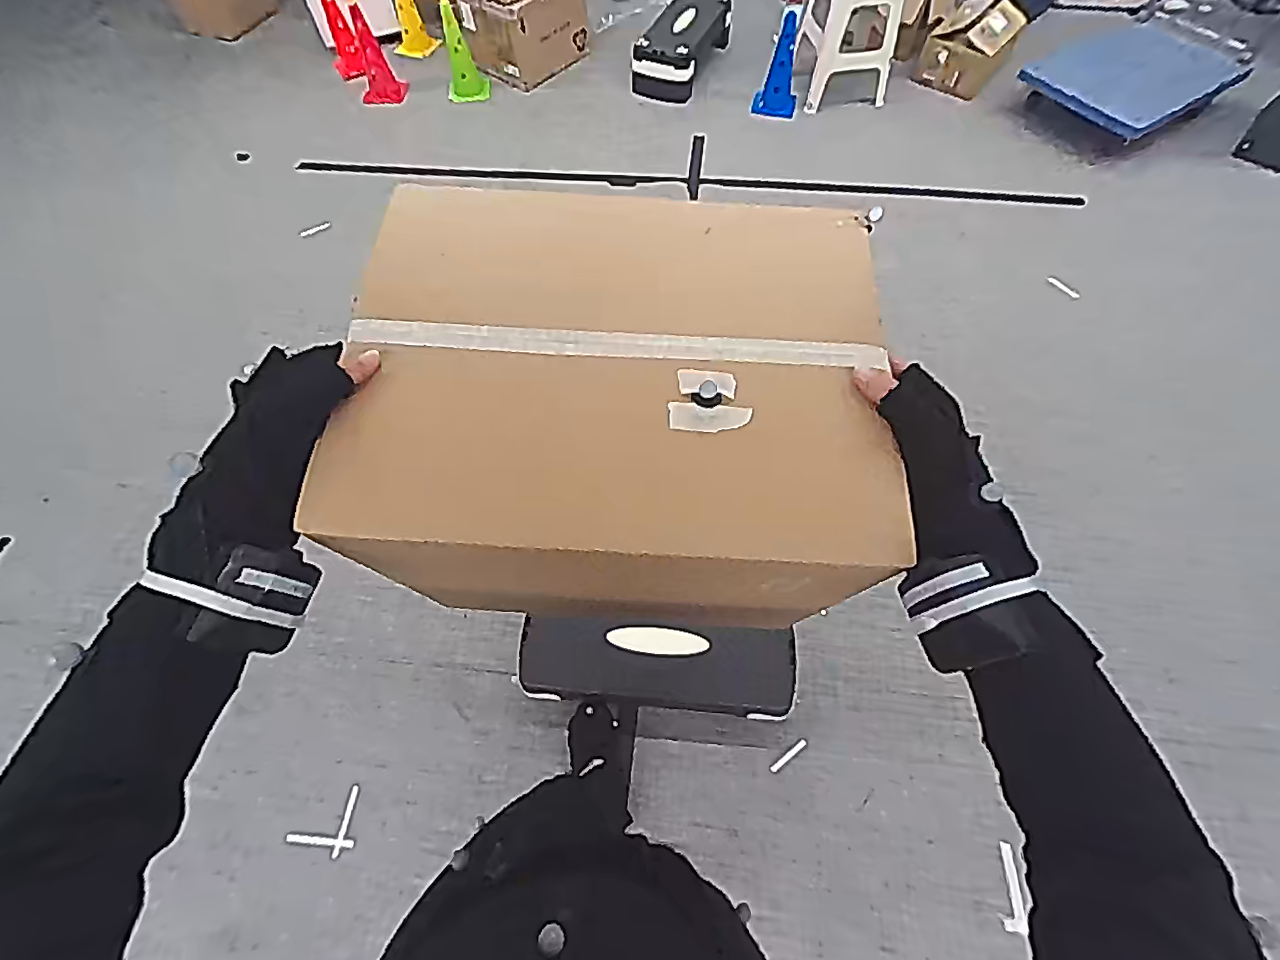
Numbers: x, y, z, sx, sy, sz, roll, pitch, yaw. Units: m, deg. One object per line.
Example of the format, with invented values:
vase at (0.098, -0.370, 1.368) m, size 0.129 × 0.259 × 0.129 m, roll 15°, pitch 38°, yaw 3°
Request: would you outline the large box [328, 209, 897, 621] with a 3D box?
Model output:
large box at (-0.017, -0.038, 0.566) m, size 0.408 × 0.320 × 0.320 m, roll 4°, pitch 68°, yaw 0°
